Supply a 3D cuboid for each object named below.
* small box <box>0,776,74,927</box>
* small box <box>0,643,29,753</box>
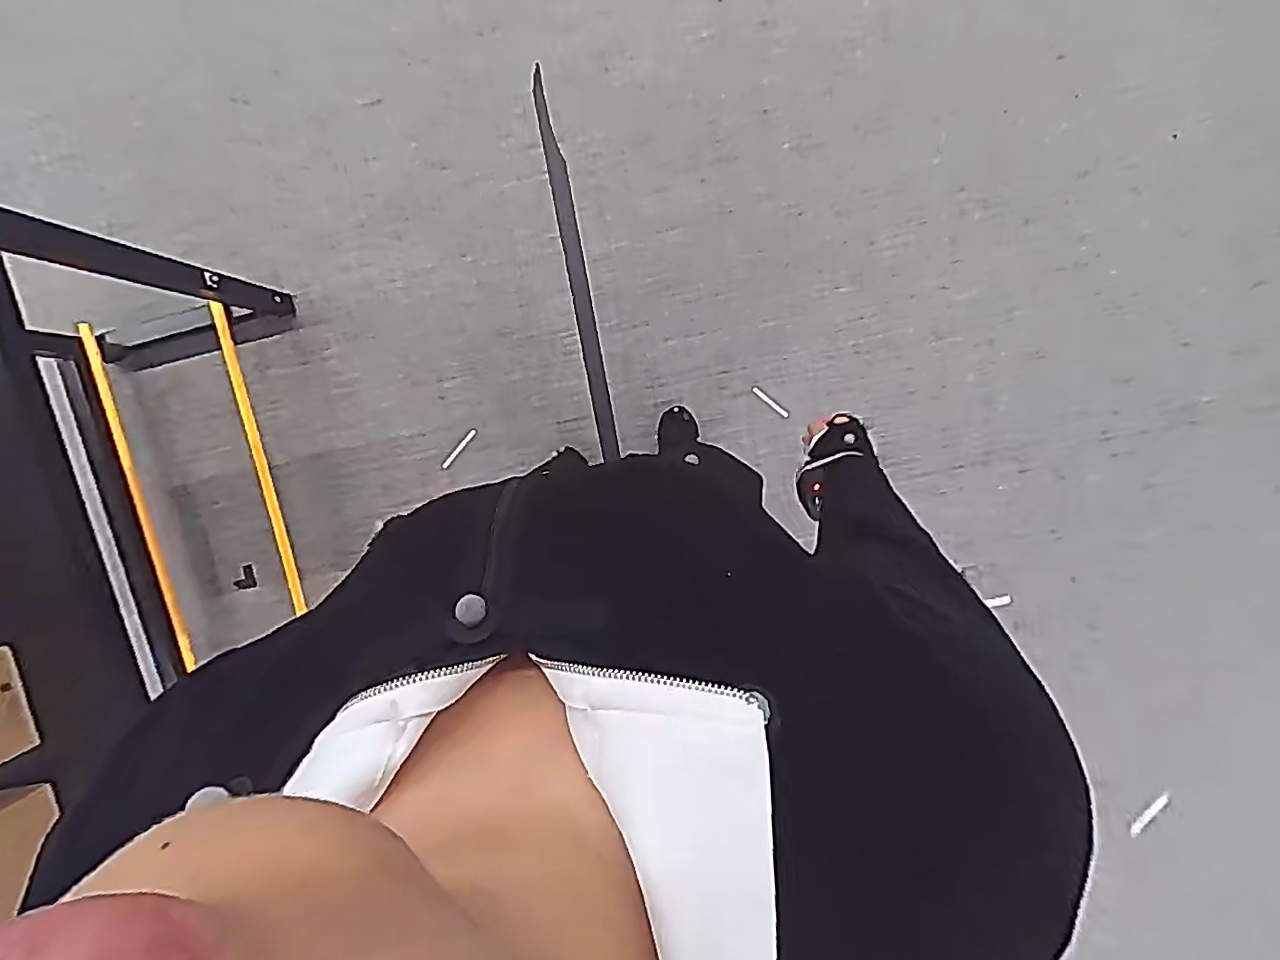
[{"bbox_3d":[-1.004,0.575,0.793,0.168,0.176,0.179,-11,96,4],"label":"small box"},{"bbox_3d":[-1.043,0.347,0.767,0.179,0.176,0.168,-10,97,4],"label":"small box"}]
